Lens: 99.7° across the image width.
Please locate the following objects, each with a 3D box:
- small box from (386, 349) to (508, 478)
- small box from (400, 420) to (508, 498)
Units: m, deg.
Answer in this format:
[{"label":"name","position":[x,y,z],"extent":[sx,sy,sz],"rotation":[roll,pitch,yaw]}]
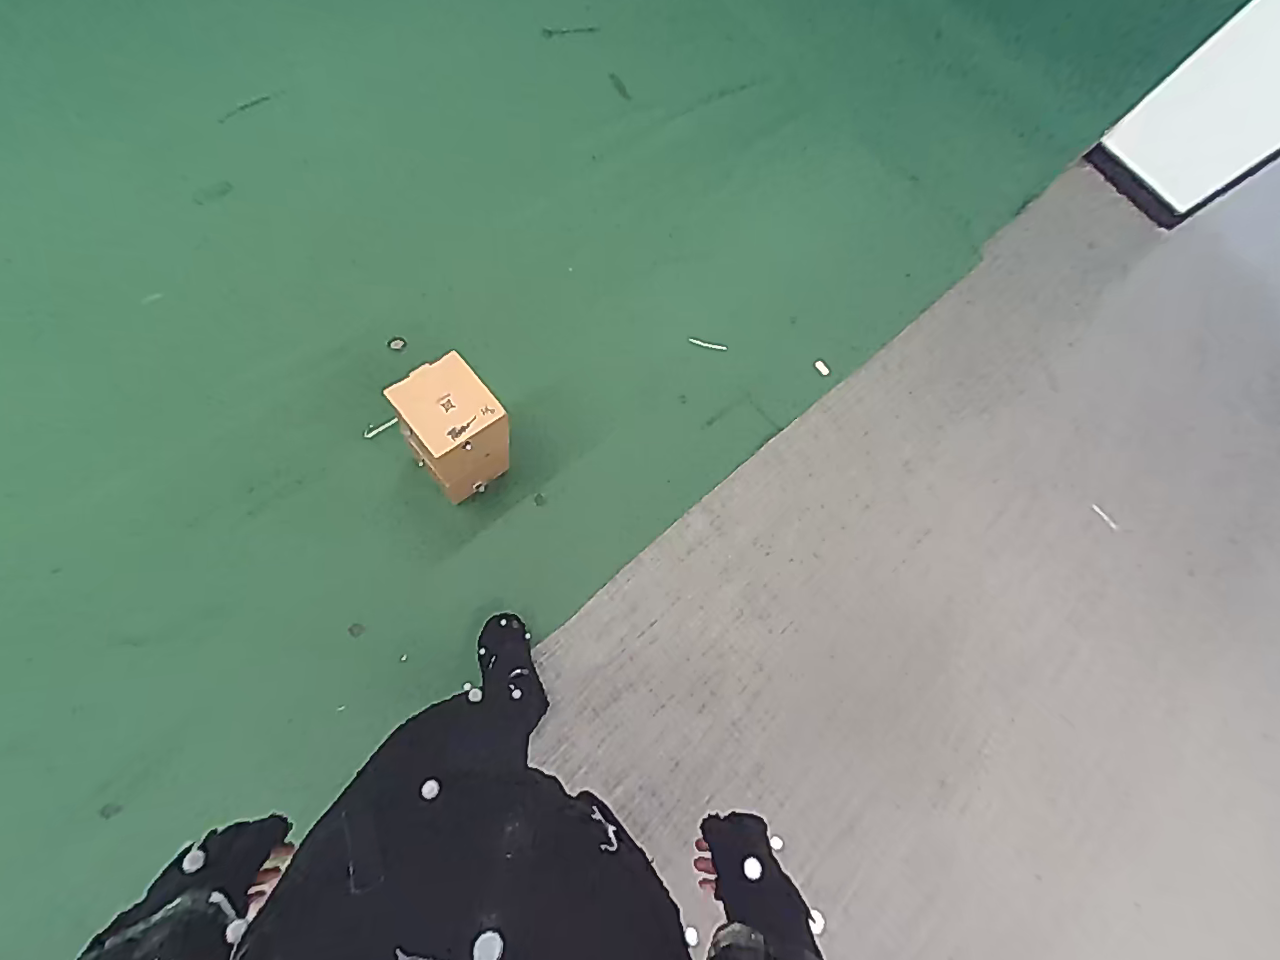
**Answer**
[{"label":"small box","position":[-0.394,-0.132,1.131],"extent":[0.168,0.176,0.179],"rotation":[-38,82,-20]},{"label":"small box","position":[-0.426,-0.083,1.264],"extent":[0.168,0.176,0.179],"rotation":[-37,83,-19]}]
